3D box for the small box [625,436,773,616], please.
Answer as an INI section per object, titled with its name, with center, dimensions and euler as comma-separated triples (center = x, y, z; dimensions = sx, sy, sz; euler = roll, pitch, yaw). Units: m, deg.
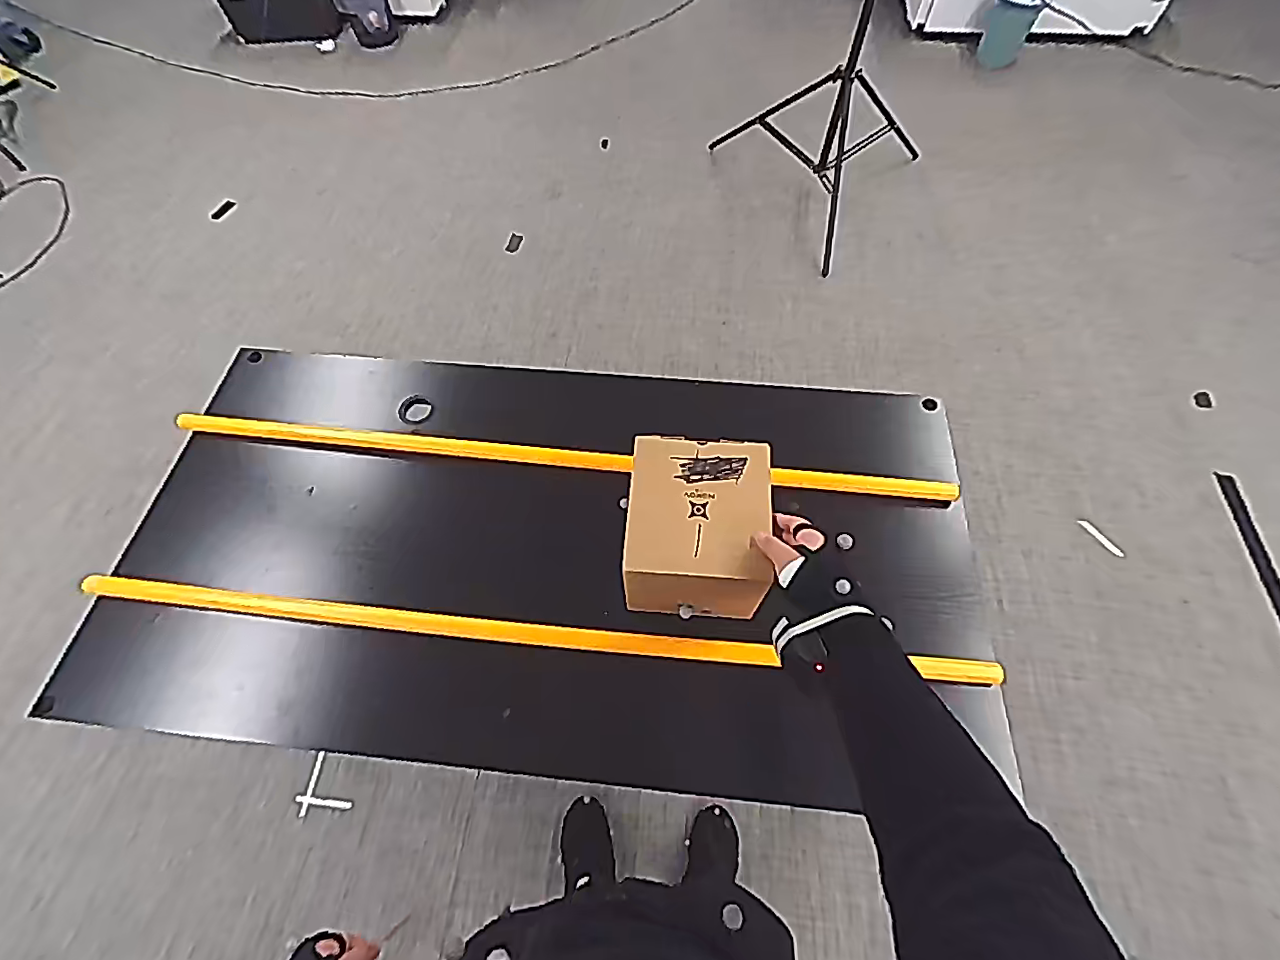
[small box]
center = 0.072, 0.064, 0.700
dimensions = 0.168, 0.176, 0.179
euler = 3, 62, 4
